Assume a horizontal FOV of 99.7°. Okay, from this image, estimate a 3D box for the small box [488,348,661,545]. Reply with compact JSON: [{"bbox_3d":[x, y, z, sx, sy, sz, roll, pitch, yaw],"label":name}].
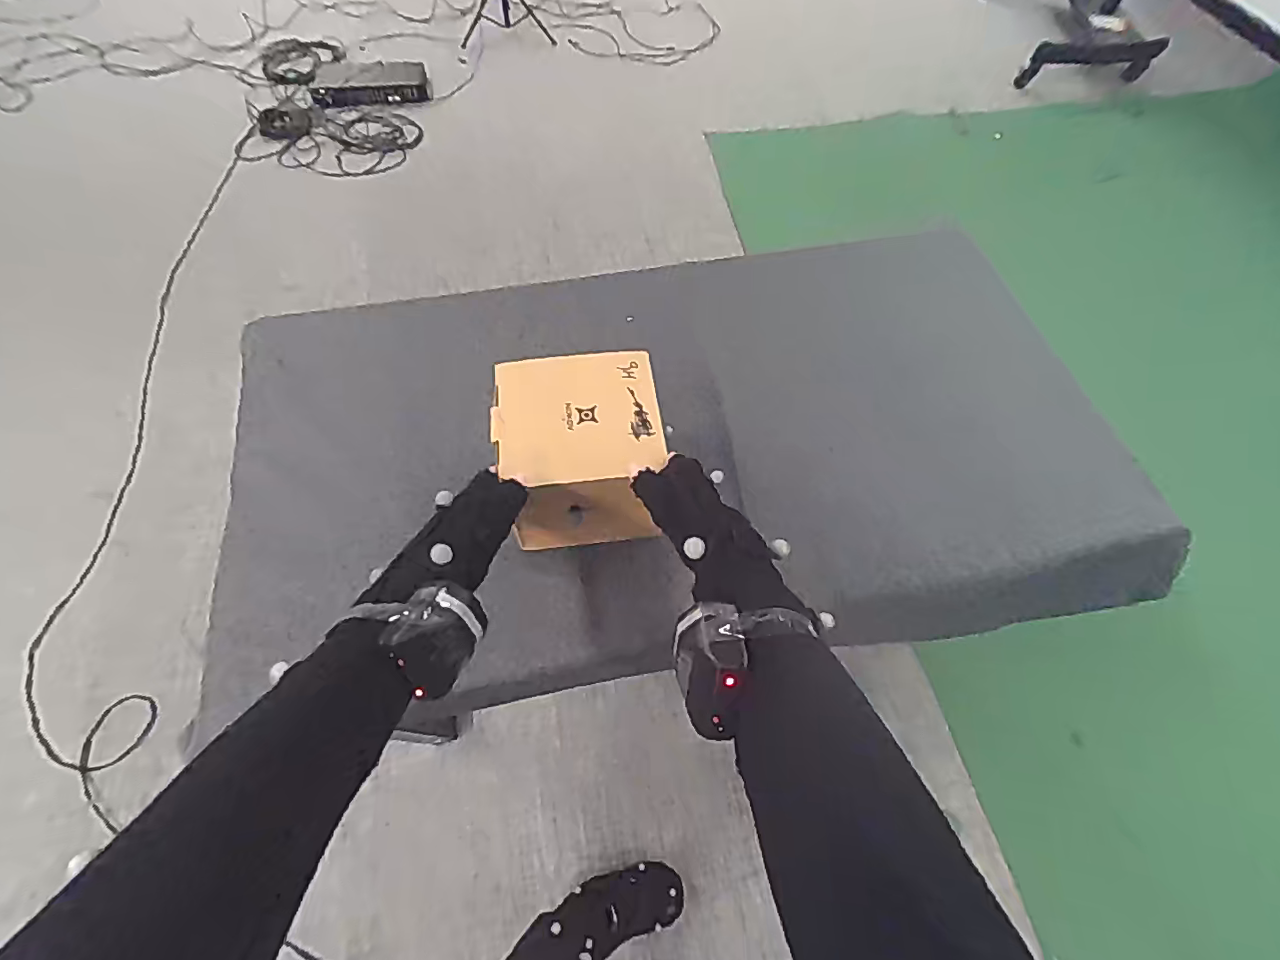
[{"bbox_3d":[-0.073,-0.032,0.643,0.179,0.176,0.168,-6,63,-4],"label":"small box"}]
